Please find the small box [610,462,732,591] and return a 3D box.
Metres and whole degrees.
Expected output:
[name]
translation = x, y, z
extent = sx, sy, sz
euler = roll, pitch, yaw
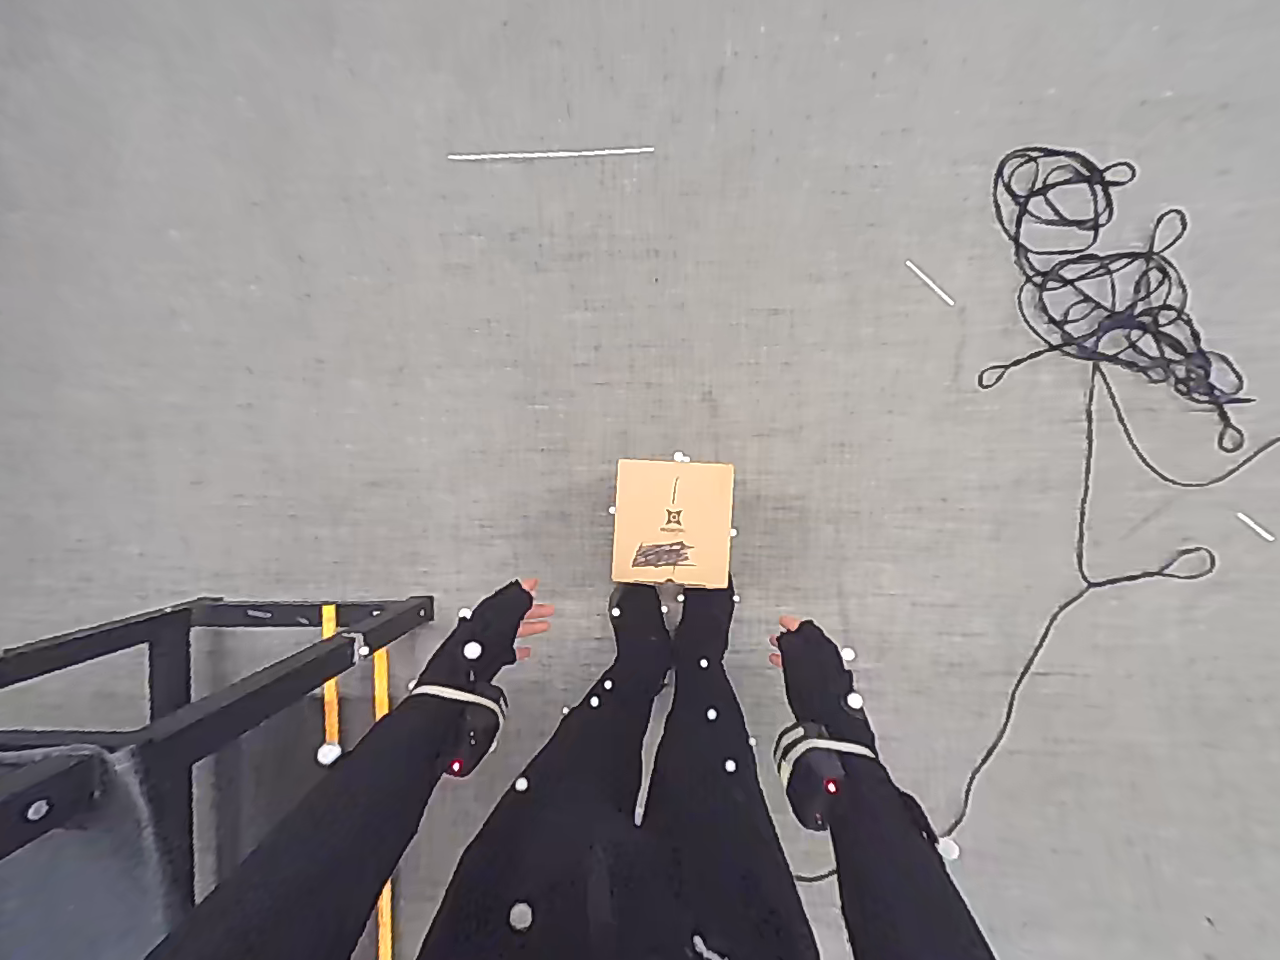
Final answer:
[small box]
translation = 0.048, 0.064, 0.845
extent = 0.168, 0.176, 0.179
euler = 3, 90, 2
